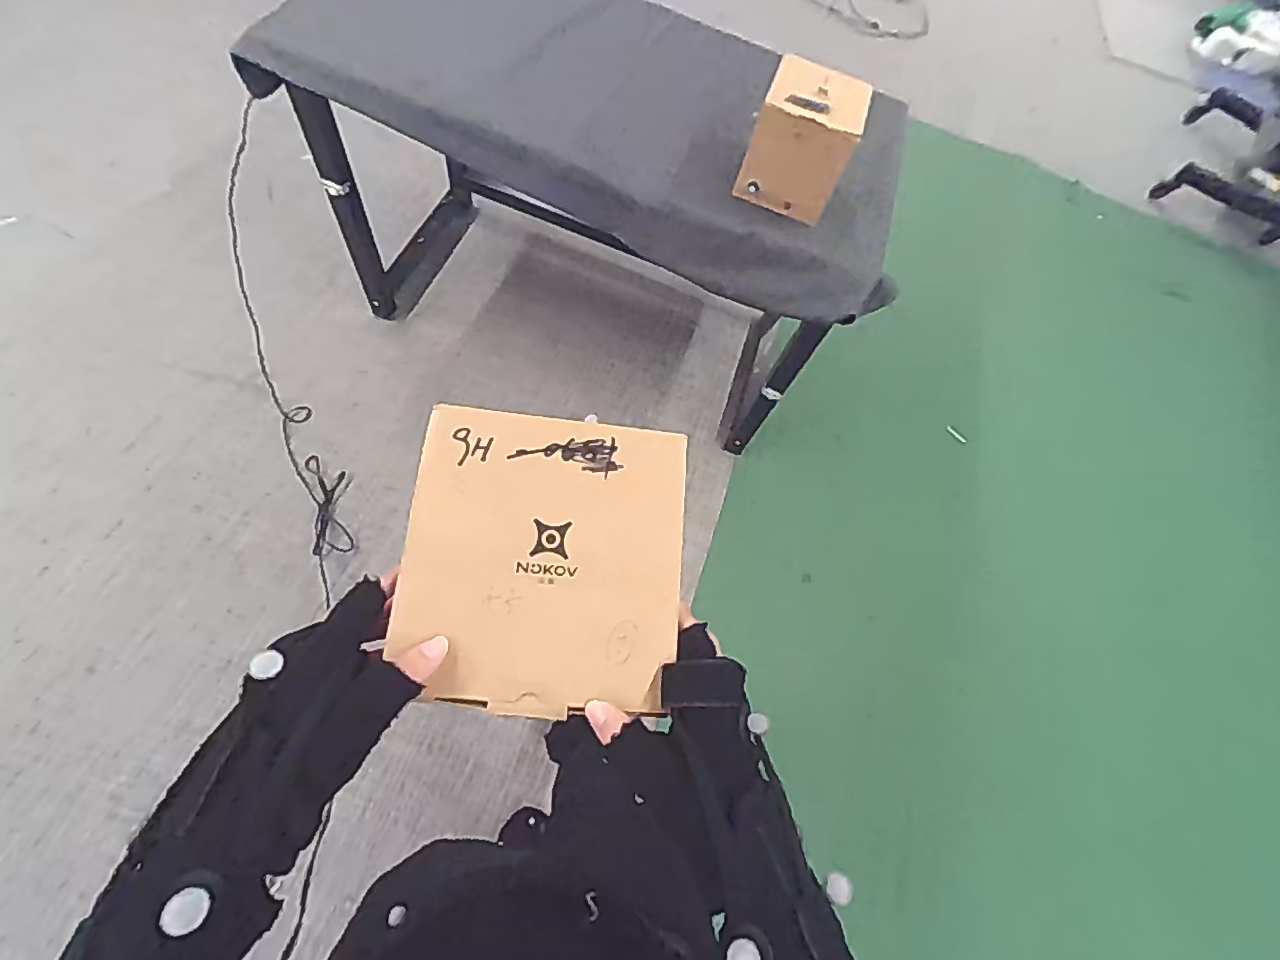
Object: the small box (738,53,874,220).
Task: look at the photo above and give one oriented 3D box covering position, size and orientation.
[{"bbox_3d":[0.288,-0.604,0.965,0.168,0.176,0.179,22,62,0],"label":"small box"}]
